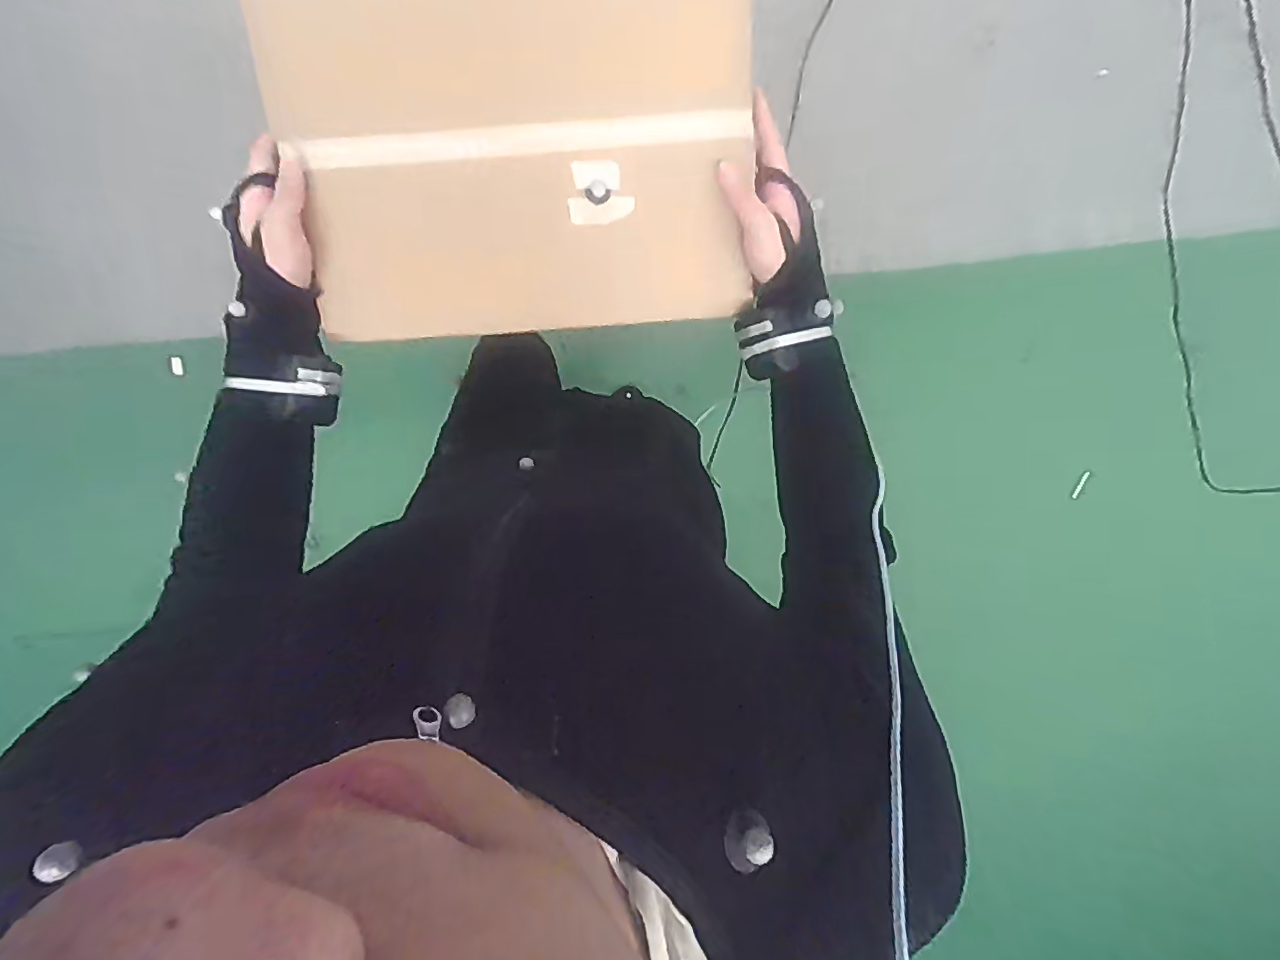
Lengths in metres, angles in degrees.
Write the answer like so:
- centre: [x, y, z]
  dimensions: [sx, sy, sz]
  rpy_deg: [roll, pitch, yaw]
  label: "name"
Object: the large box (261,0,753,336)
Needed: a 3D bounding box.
- centre: [-0.108, -0.346, 0.613]
  dimensions: [0.408, 0.320, 0.320]
  rpy_deg: [-4, 109, -1]
  label: "large box"
